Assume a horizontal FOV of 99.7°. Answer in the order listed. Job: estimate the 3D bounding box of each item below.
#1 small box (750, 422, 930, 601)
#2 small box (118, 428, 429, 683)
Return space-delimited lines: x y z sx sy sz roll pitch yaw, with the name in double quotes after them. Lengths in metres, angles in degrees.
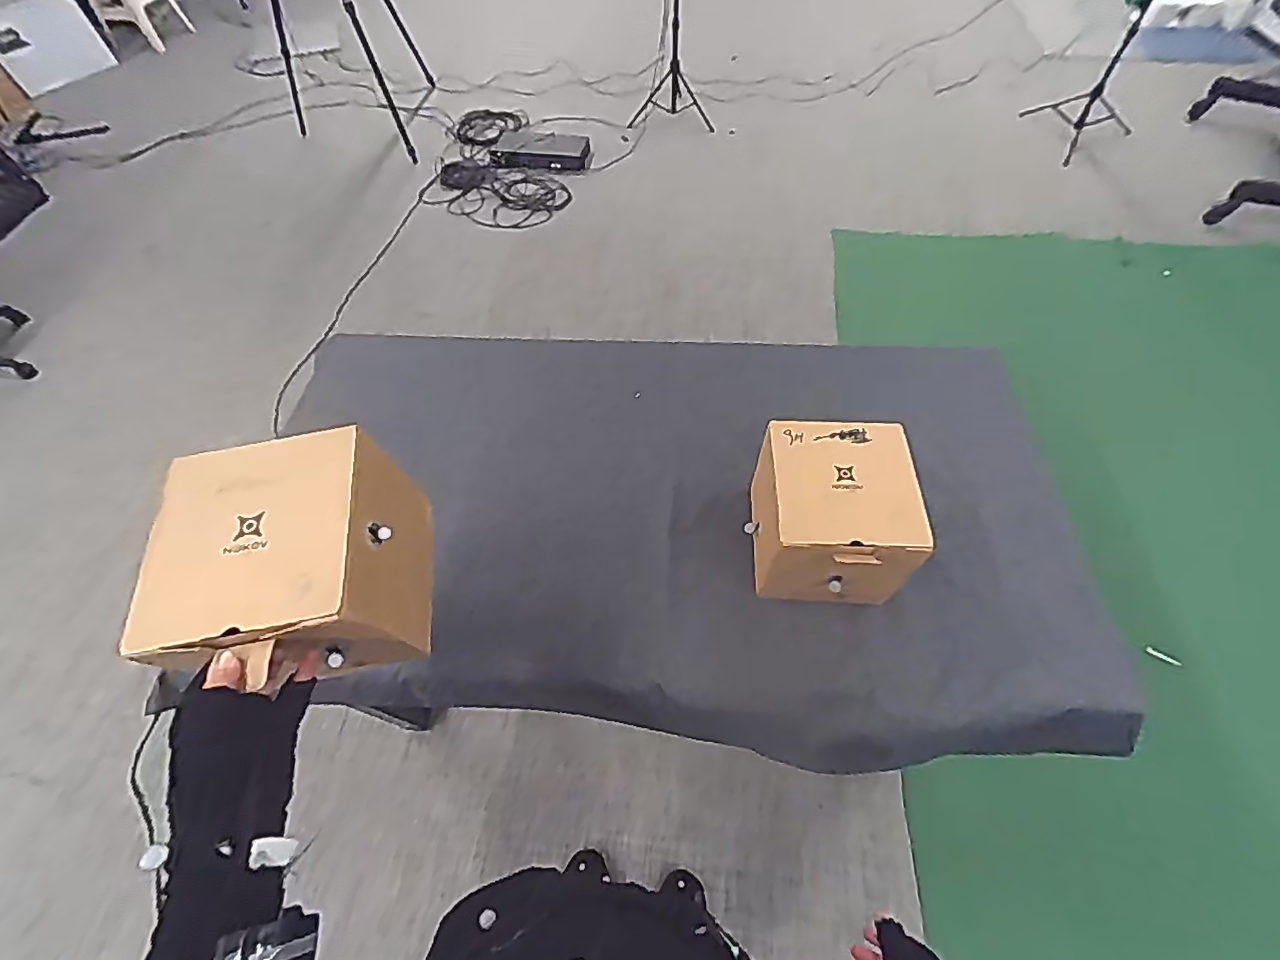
0.238 0.046 0.696 0.168 0.176 0.179 2 58 2 "small box"
-0.308 0.081 0.503 0.168 0.176 0.179 -11 61 -3 "small box"
